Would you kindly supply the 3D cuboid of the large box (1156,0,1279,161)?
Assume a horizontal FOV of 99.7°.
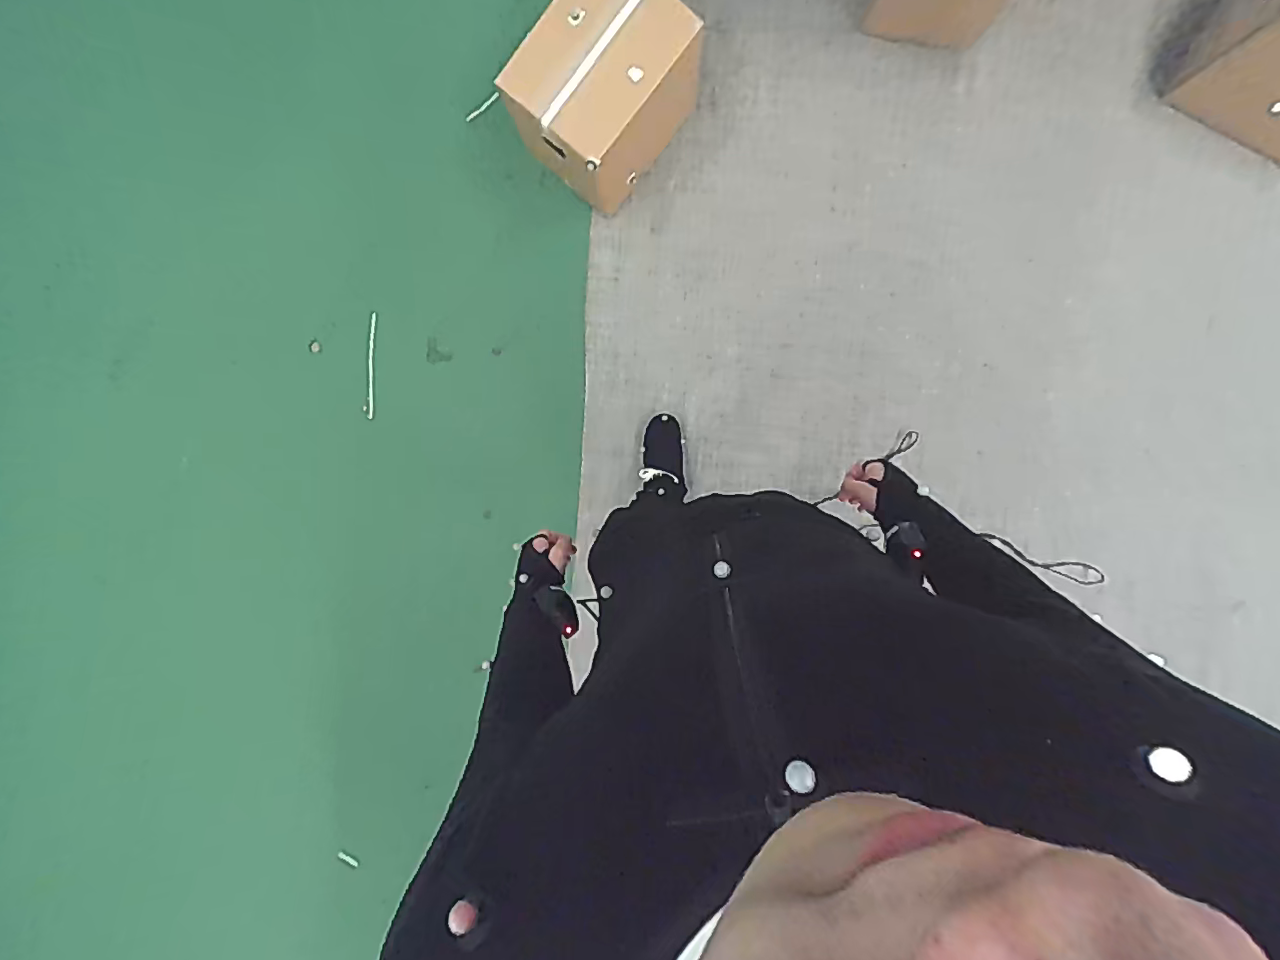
[{"bbox_3d":[1.641,-1.066,1.314,0.408,0.320,0.320,28,95,1],"label":"large box"}]
